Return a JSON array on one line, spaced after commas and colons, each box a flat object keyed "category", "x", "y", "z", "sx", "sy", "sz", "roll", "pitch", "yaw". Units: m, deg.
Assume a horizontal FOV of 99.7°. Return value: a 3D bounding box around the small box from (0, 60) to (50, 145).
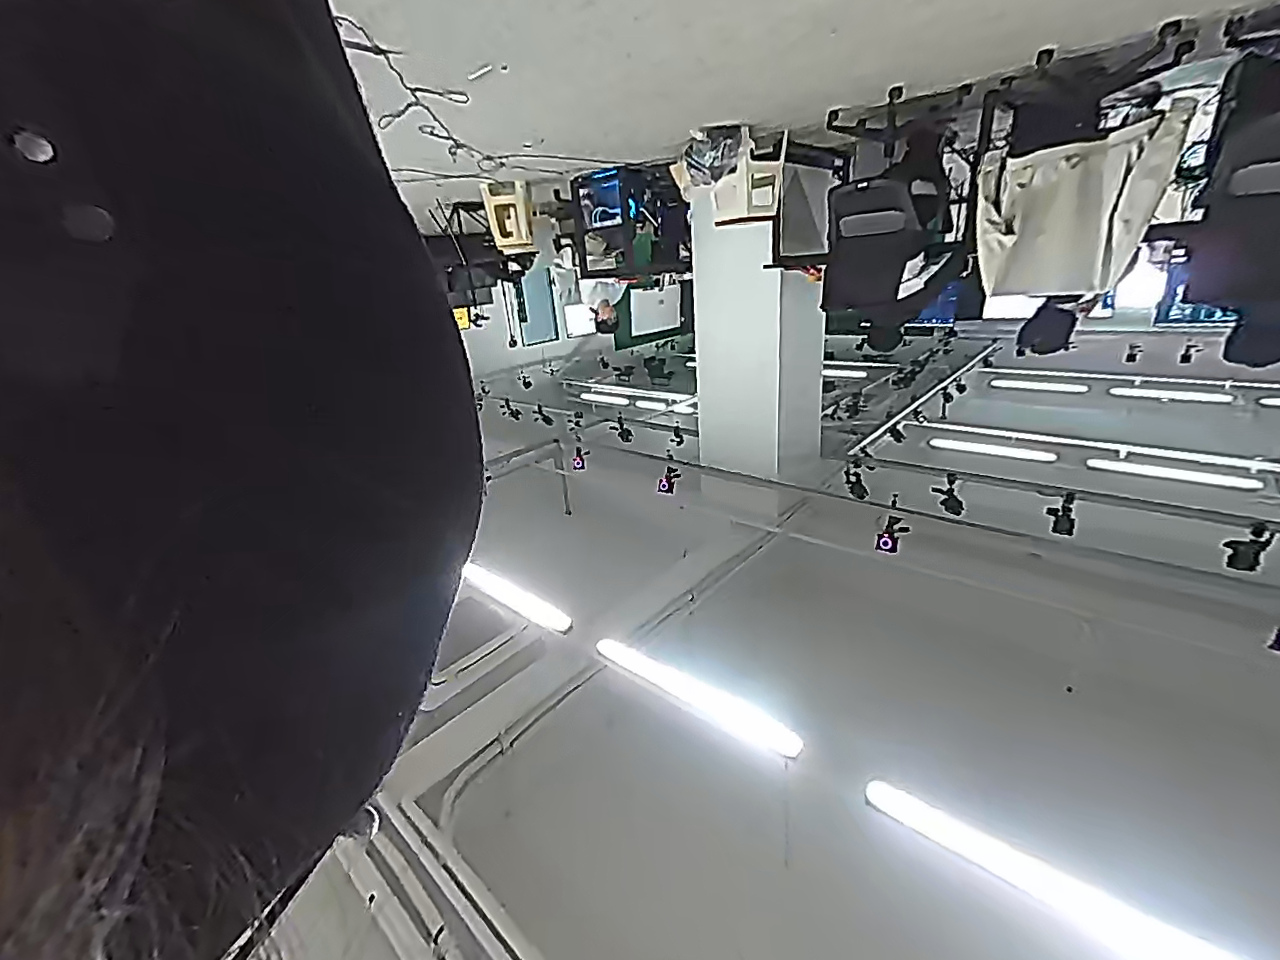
[{"category": "small box", "x": -1.771, "y": -1.032, "z": 1.467, "sx": 0.168, "sy": 0.176, "sz": 0.179, "roll": 11, "pitch": -154, "yaw": 39}]
